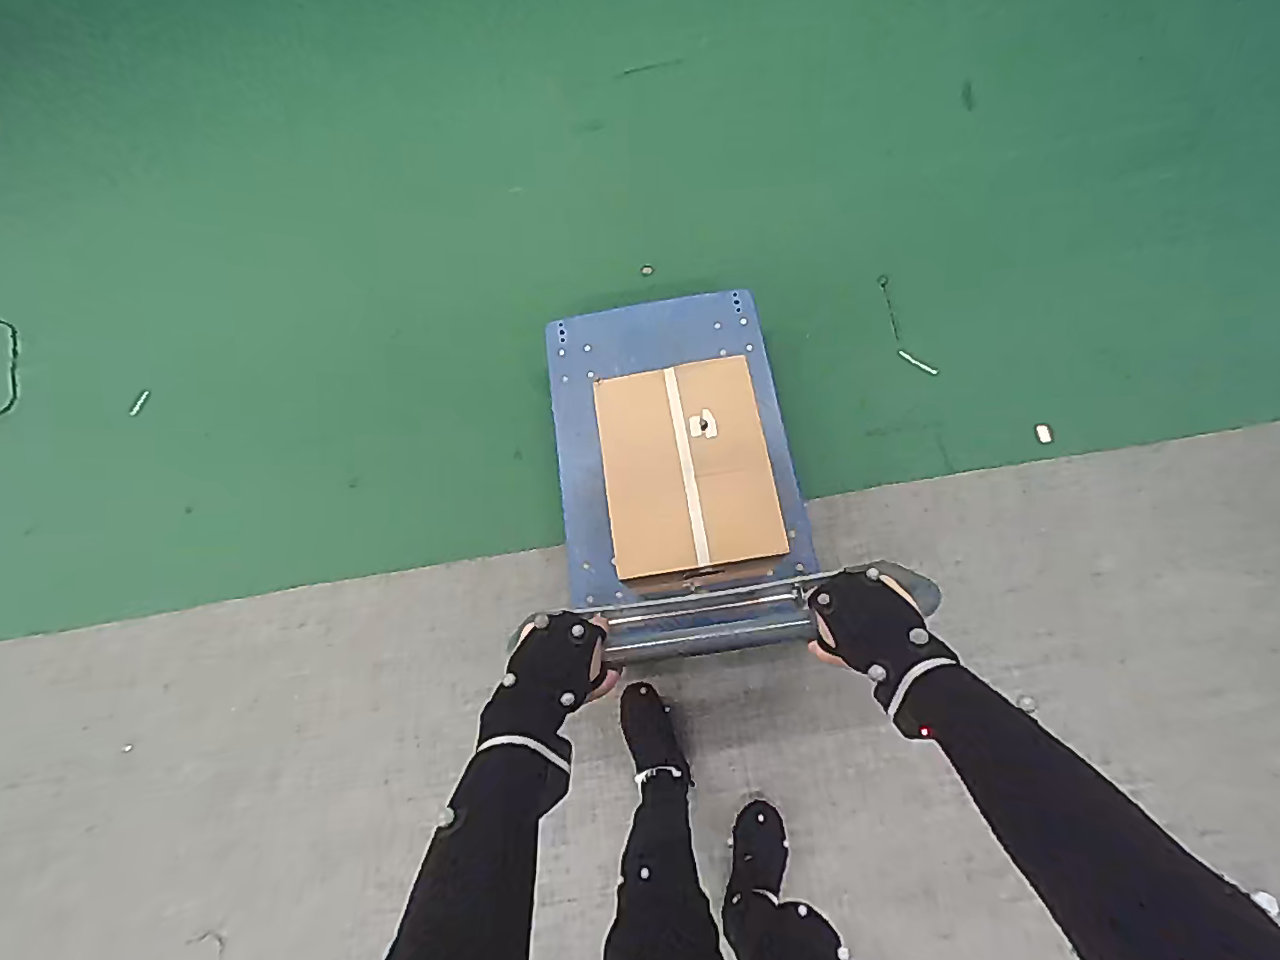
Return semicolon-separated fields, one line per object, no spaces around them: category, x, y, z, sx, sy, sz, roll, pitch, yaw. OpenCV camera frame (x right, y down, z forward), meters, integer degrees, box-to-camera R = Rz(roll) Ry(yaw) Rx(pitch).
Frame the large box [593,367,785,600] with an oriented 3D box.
large box;0.099;0.027;1.180;0.320;0.320;0.408;-9;72;2
